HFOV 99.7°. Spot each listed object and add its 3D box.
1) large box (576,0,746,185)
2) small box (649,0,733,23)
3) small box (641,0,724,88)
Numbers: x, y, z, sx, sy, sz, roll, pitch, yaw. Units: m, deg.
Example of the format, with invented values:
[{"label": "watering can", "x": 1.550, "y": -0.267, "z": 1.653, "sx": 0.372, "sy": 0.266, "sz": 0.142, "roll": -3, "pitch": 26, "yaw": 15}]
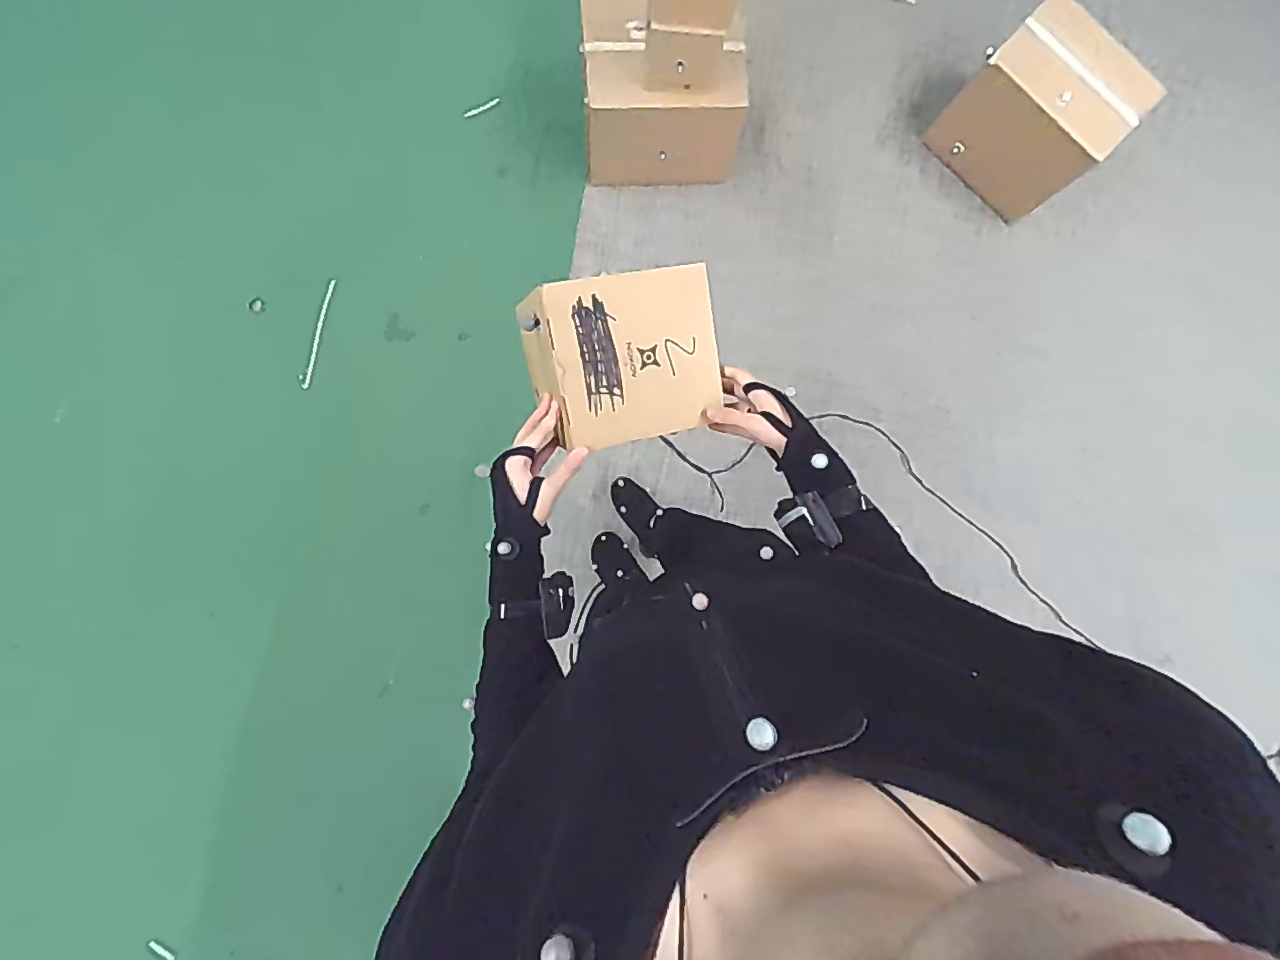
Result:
[{"label": "large box", "x": 0.043, "y": -1.049, "z": 1.479, "sx": 0.408, "sy": 0.320, "sz": 0.320, "roll": -4, "pitch": 84, "yaw": -4}, {"label": "small box", "x": 0.113, "y": -1.061, "z": 1.075, "sx": 0.179, "sy": 0.176, "sz": 0.168, "roll": 2, "pitch": 85, "yaw": -6}, {"label": "small box", "x": 0.094, "y": -1.041, "z": 1.235, "sx": 0.168, "sy": 0.176, "sz": 0.179, "roll": 1, "pitch": 85, "yaw": -6}]
